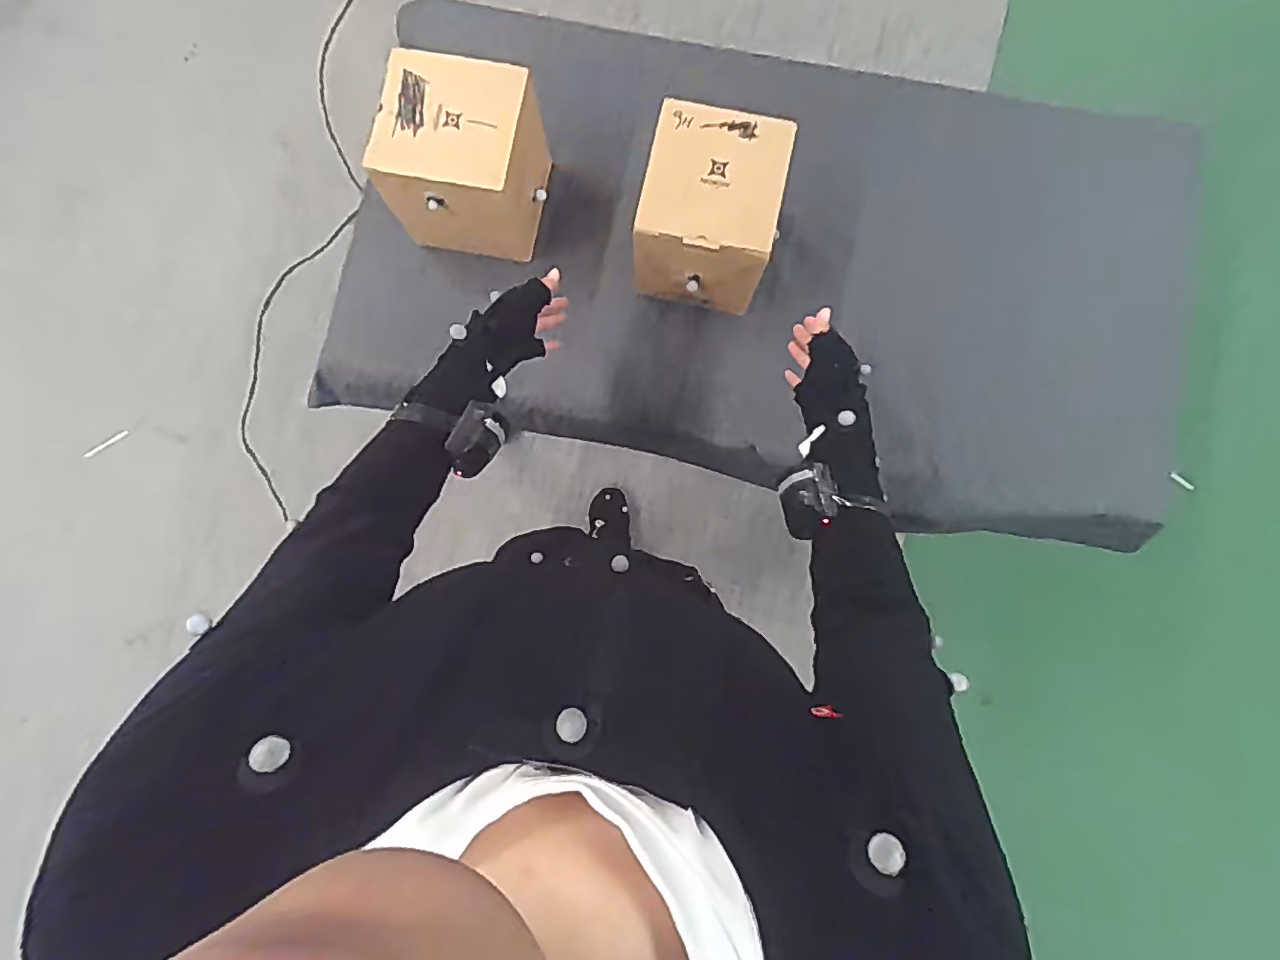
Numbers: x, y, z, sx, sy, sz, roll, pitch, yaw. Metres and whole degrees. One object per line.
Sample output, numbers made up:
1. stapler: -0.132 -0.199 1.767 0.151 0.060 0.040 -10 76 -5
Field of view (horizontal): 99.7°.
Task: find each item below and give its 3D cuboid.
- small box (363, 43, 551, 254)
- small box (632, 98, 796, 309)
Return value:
1. small box: -0.231 -0.431 0.729 0.179 0.176 0.168 10 84 1
2. small box: 0.091 -0.352 0.720 0.168 0.176 0.179 13 85 2
